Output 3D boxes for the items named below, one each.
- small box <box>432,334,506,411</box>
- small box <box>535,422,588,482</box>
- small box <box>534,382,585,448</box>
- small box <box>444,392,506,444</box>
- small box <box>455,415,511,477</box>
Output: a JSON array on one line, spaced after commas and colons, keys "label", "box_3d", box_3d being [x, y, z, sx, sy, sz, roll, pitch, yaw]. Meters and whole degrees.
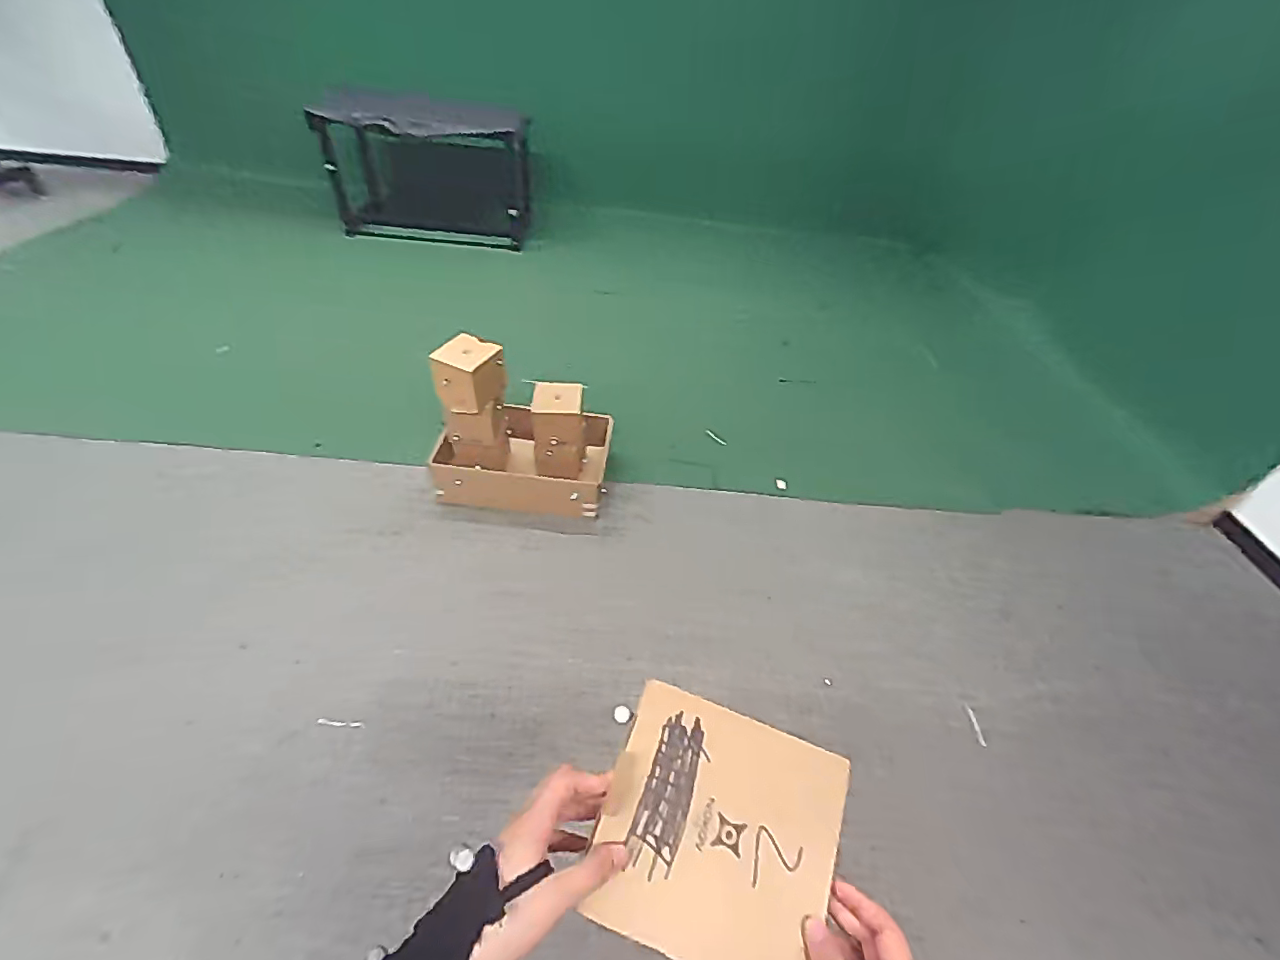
[{"label": "small box", "box_3d": [-0.563, -0.358, 1.811, 0.168, 0.176, 0.179, 22, 45, 14]}, {"label": "small box", "box_3d": [-0.297, -0.118, 2.071, 0.168, 0.176, 0.179, 8, 44, 3]}, {"label": "small box", "box_3d": [-0.286, -0.233, 1.955, 0.168, 0.176, 0.179, 1, 46, -3]}, {"label": "small box", "box_3d": [-0.580, -0.247, 1.929, 0.168, 0.176, 0.179, 7, 43, -2]}, {"label": "small box", "box_3d": [-0.588, -0.137, 2.050, 0.168, 0.176, 0.179, 5, 44, -2]}]
